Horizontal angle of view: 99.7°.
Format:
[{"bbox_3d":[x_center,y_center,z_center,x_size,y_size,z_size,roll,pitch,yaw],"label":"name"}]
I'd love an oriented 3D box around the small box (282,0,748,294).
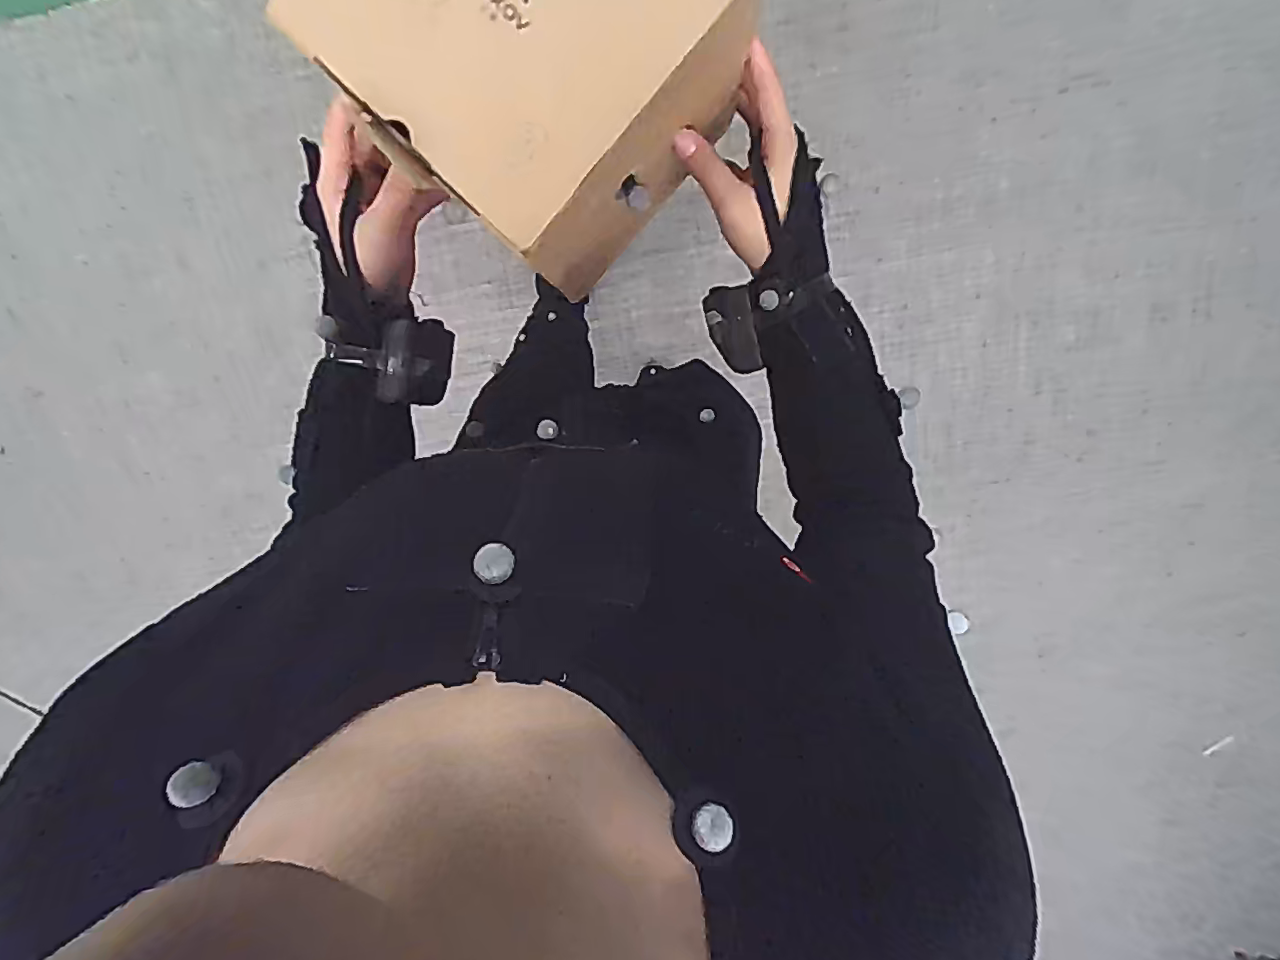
[{"bbox_3d":[-0.055,-0.241,0.333,0.168,0.176,0.179,43,100,-5],"label":"small box"}]
